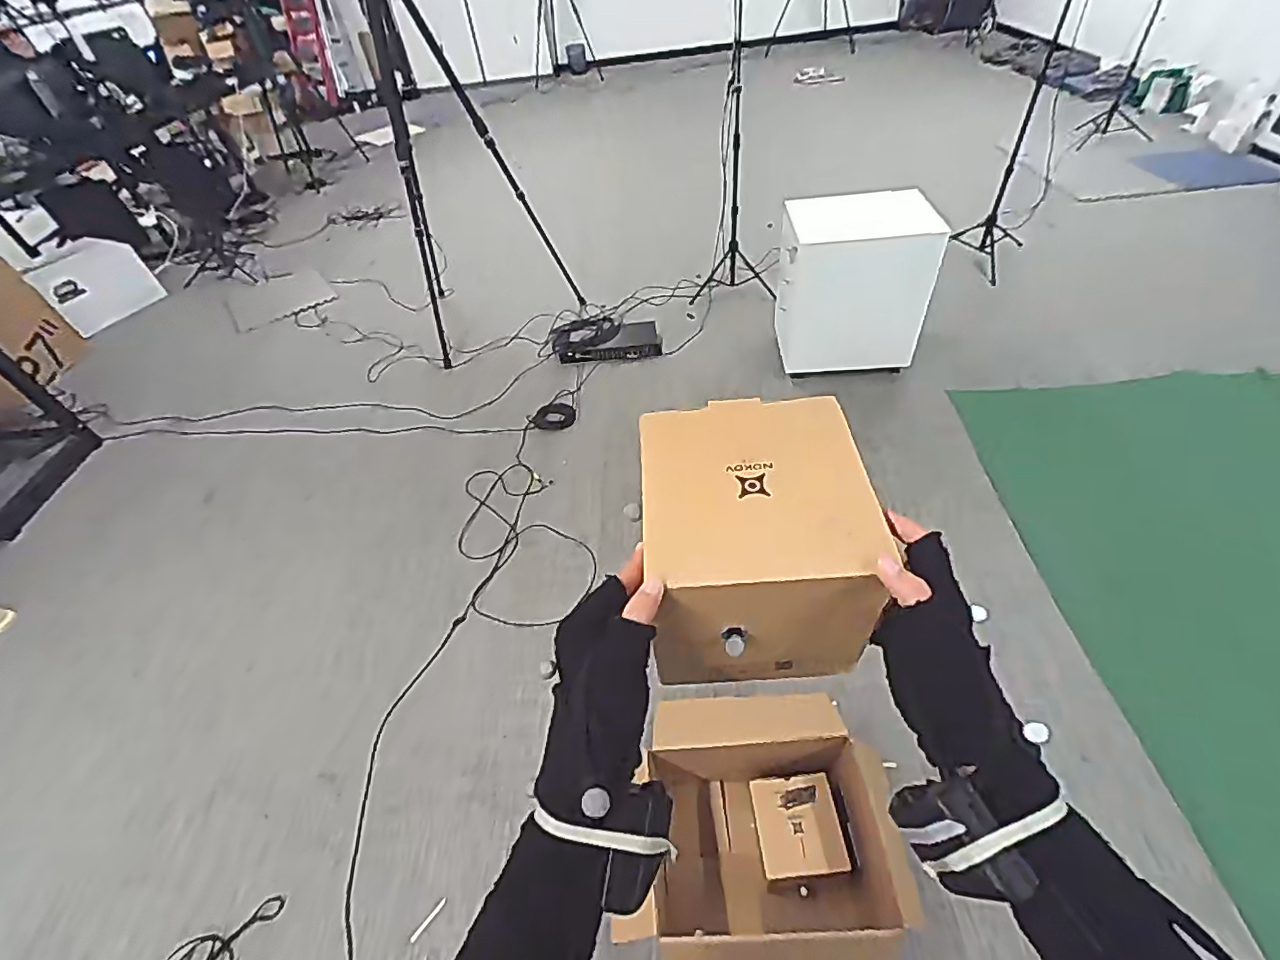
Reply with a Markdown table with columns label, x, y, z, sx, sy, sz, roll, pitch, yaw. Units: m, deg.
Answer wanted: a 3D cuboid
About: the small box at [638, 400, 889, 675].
| label | x | y | z | sx | sy | sz | roll | pitch | yaw |
| --- | --- | --- | --- | --- | --- | --- | --- | --- | --- |
| small box | 0.090 | 0.057 | 0.469 | 0.168 | 0.176 | 0.179 | -5 | 48 | 3 |
